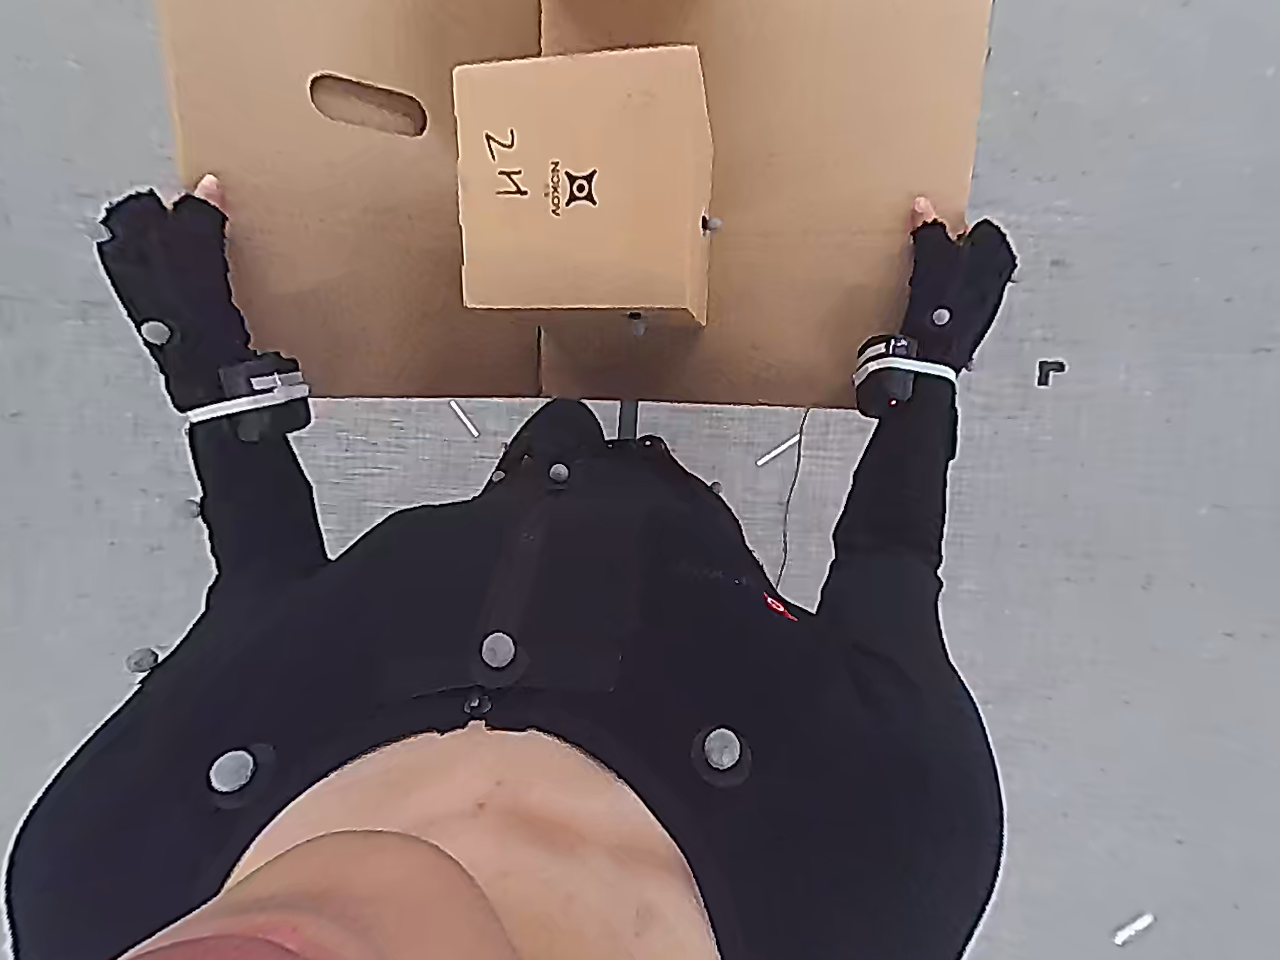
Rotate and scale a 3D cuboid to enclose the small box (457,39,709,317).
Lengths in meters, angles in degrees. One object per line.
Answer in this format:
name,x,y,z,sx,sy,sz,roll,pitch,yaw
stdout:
small box,-0.034,-0.235,0.468,0.179,0.176,0.168,4,102,11
